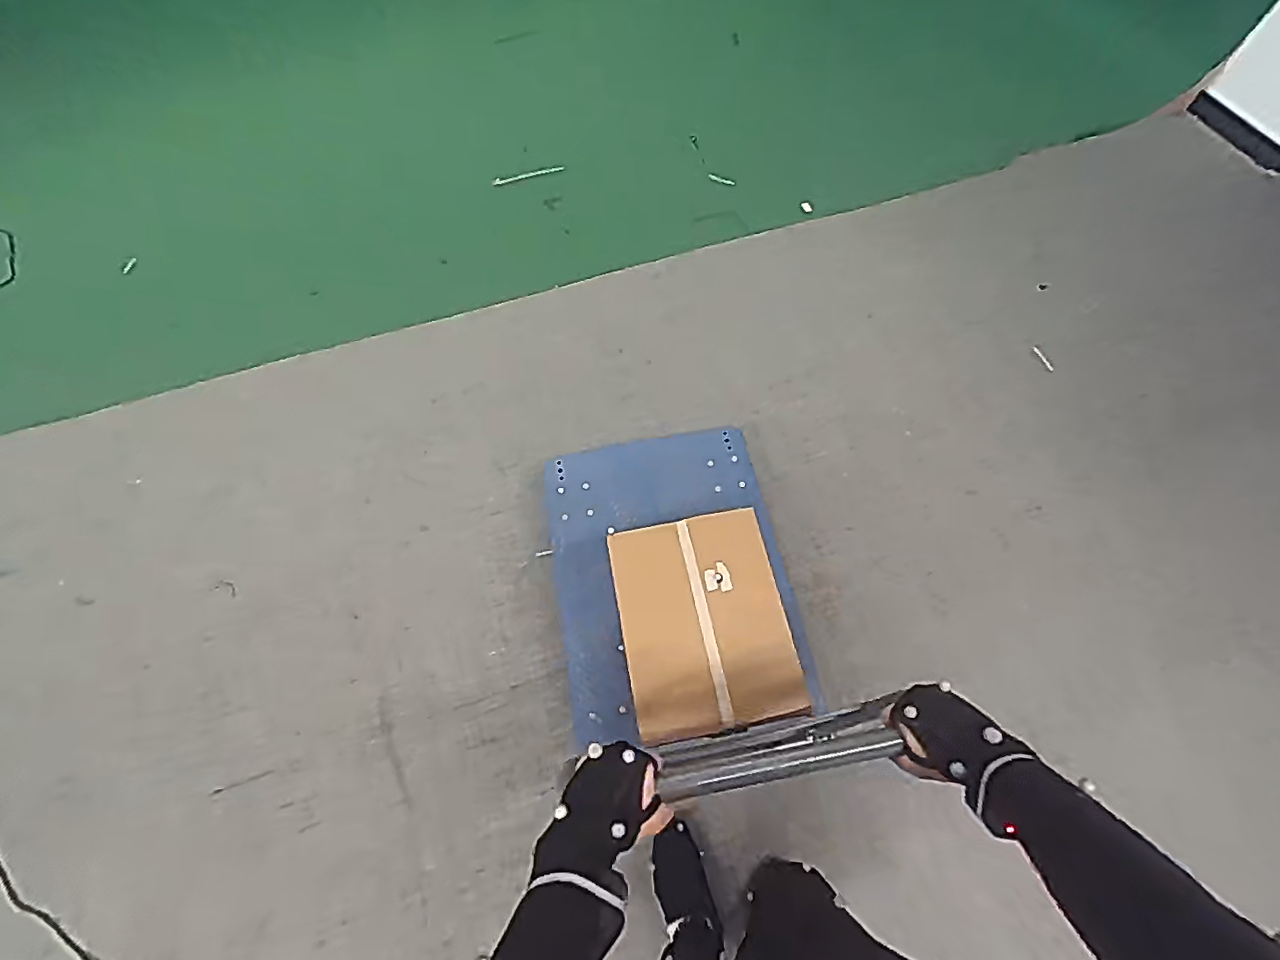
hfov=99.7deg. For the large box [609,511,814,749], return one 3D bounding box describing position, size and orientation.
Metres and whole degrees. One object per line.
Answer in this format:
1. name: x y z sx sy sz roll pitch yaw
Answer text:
1. large box: 0.130 0.332 1.172 0.320 0.320 0.408 -10 64 -4
